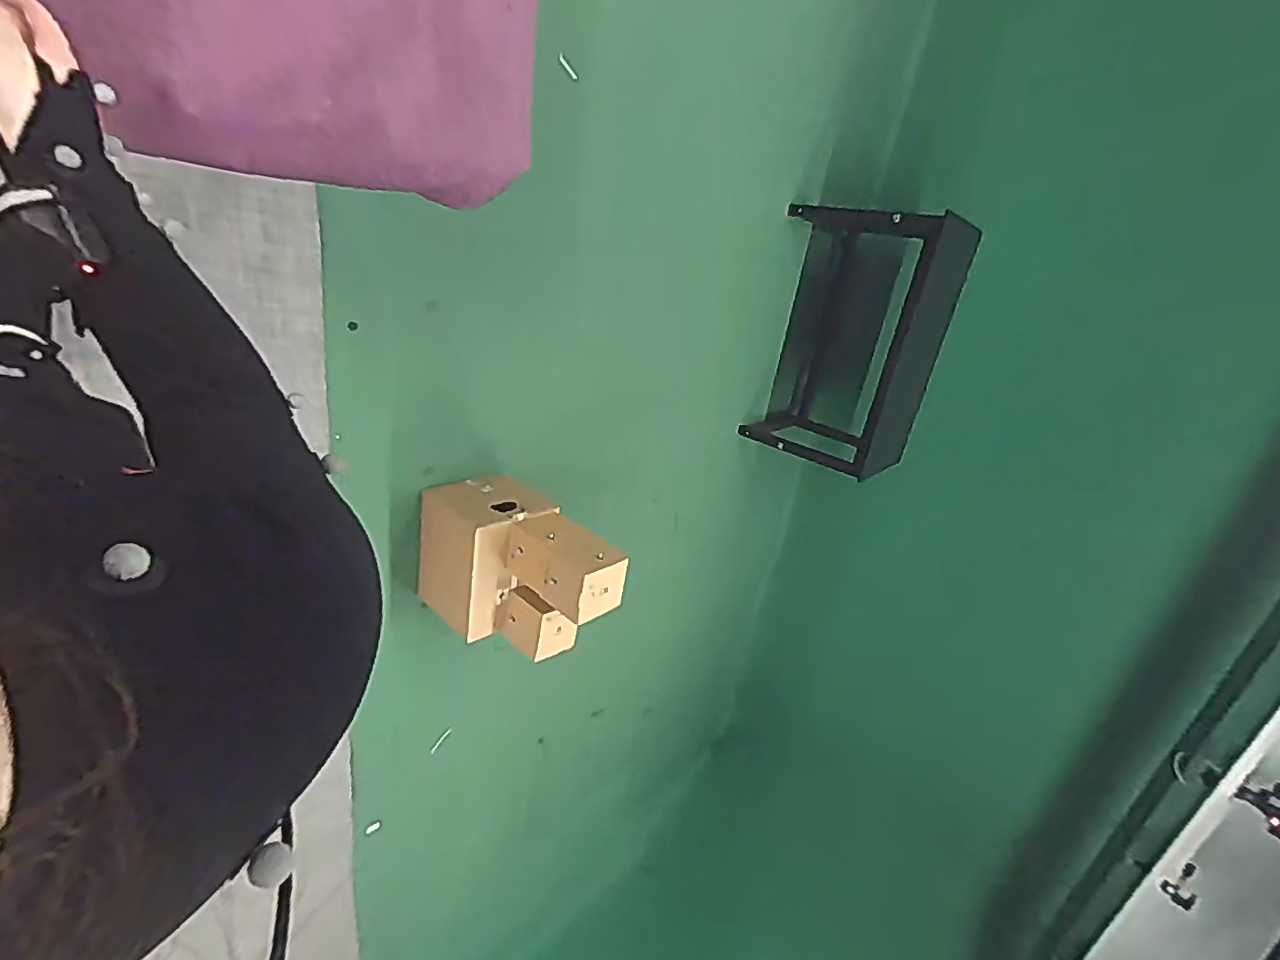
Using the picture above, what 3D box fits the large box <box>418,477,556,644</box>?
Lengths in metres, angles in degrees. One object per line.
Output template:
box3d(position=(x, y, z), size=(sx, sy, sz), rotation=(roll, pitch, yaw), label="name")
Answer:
box3d(position=(-0.512, 0.245, 1.781), size=(0.320, 0.320, 0.408), rotation=(-13, 121, -47), label="large box")

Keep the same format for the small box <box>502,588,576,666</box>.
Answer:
box3d(position=(-0.320, 0.456, 1.730), size=(0.168, 0.176, 0.179), rotation=(-7, 115, -51), label="small box")

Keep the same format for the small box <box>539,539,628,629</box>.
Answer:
box3d(position=(-0.163, 0.288, 1.546), size=(0.179, 0.176, 0.168), rotation=(-14, 122, -47), label="small box")

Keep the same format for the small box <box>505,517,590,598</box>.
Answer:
box3d(position=(-0.282, 0.226, 1.642), size=(0.179, 0.176, 0.168), rotation=(-13, 121, -48), label="small box")
